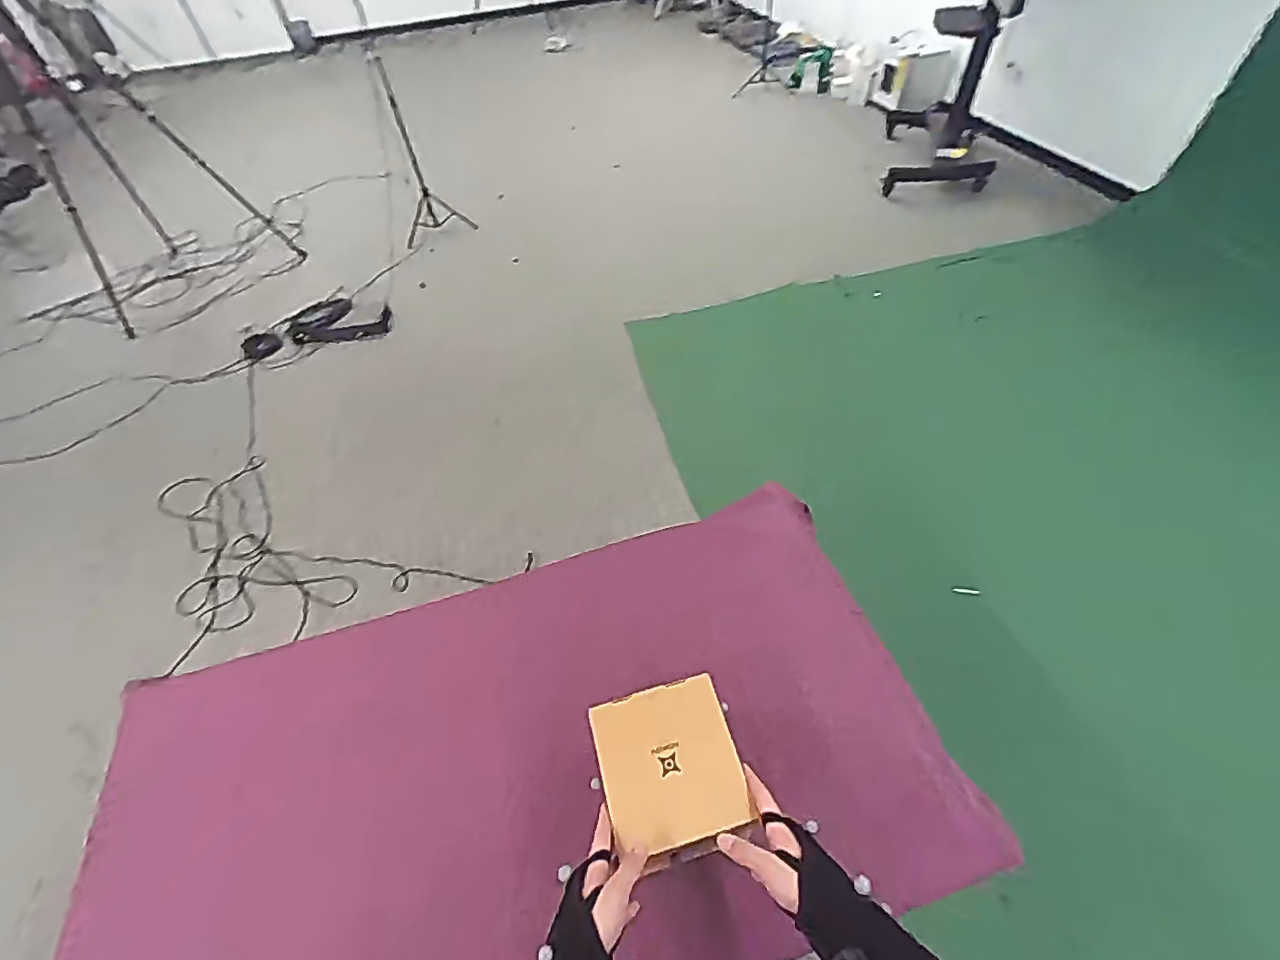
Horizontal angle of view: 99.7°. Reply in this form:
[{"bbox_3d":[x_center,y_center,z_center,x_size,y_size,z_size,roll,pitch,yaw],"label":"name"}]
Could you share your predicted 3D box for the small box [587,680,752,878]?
[{"bbox_3d":[0.038,0.397,0.710,0.168,0.176,0.179,-15,48,-6],"label":"small box"}]
